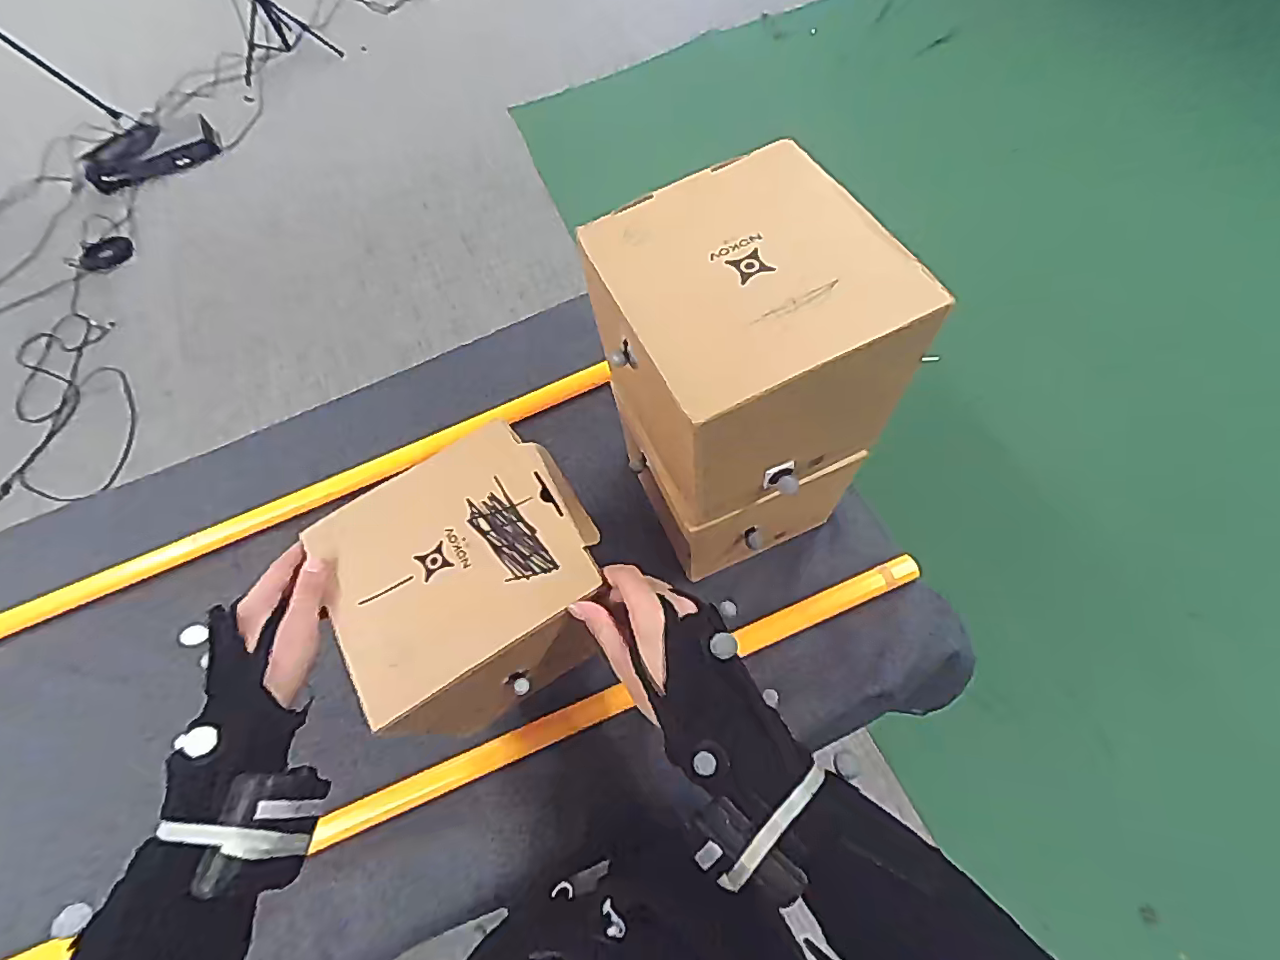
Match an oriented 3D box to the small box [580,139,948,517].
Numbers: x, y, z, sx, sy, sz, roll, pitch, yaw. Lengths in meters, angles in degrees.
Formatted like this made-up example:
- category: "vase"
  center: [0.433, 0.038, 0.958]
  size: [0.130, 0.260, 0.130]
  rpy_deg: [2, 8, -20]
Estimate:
- category: "small box"
  center: [0.074, -0.101, 0.403]
  size: [0.168, 0.176, 0.179]
  rpy_deg: [-26, 65, -5]
